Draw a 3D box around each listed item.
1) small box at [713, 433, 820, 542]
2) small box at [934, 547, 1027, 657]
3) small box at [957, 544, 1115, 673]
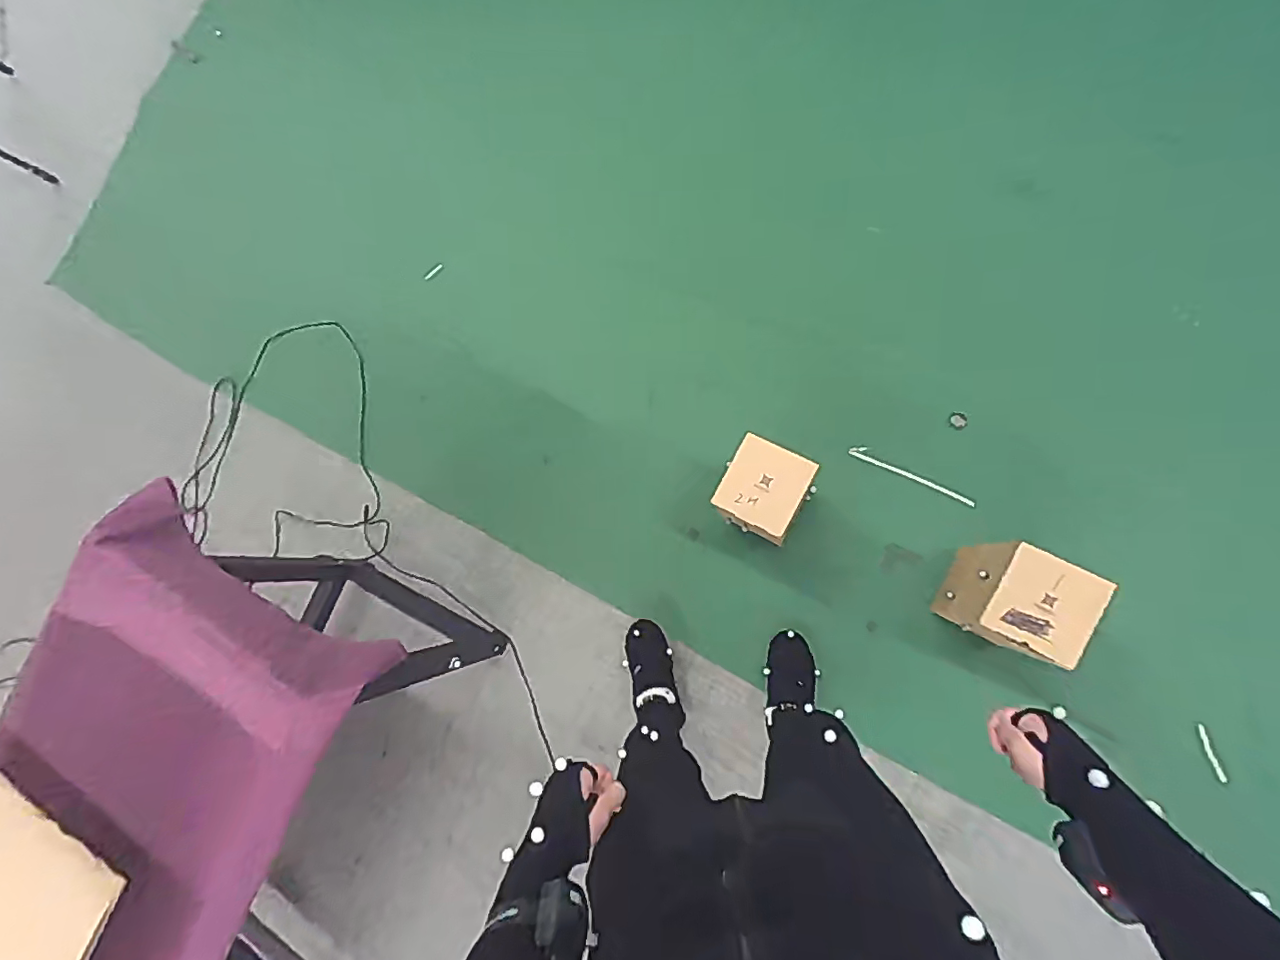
[{"bbox_3d":[0.279,0.024,1.205,0.168,0.176,0.179,29,88,17],"label":"small box"},{"bbox_3d":[0.790,0.266,1.210,0.168,0.176,0.179,28,89,16],"label":"small box"},{"bbox_3d":[0.751,0.241,1.053,0.168,0.176,0.179,29,89,16],"label":"small box"}]
